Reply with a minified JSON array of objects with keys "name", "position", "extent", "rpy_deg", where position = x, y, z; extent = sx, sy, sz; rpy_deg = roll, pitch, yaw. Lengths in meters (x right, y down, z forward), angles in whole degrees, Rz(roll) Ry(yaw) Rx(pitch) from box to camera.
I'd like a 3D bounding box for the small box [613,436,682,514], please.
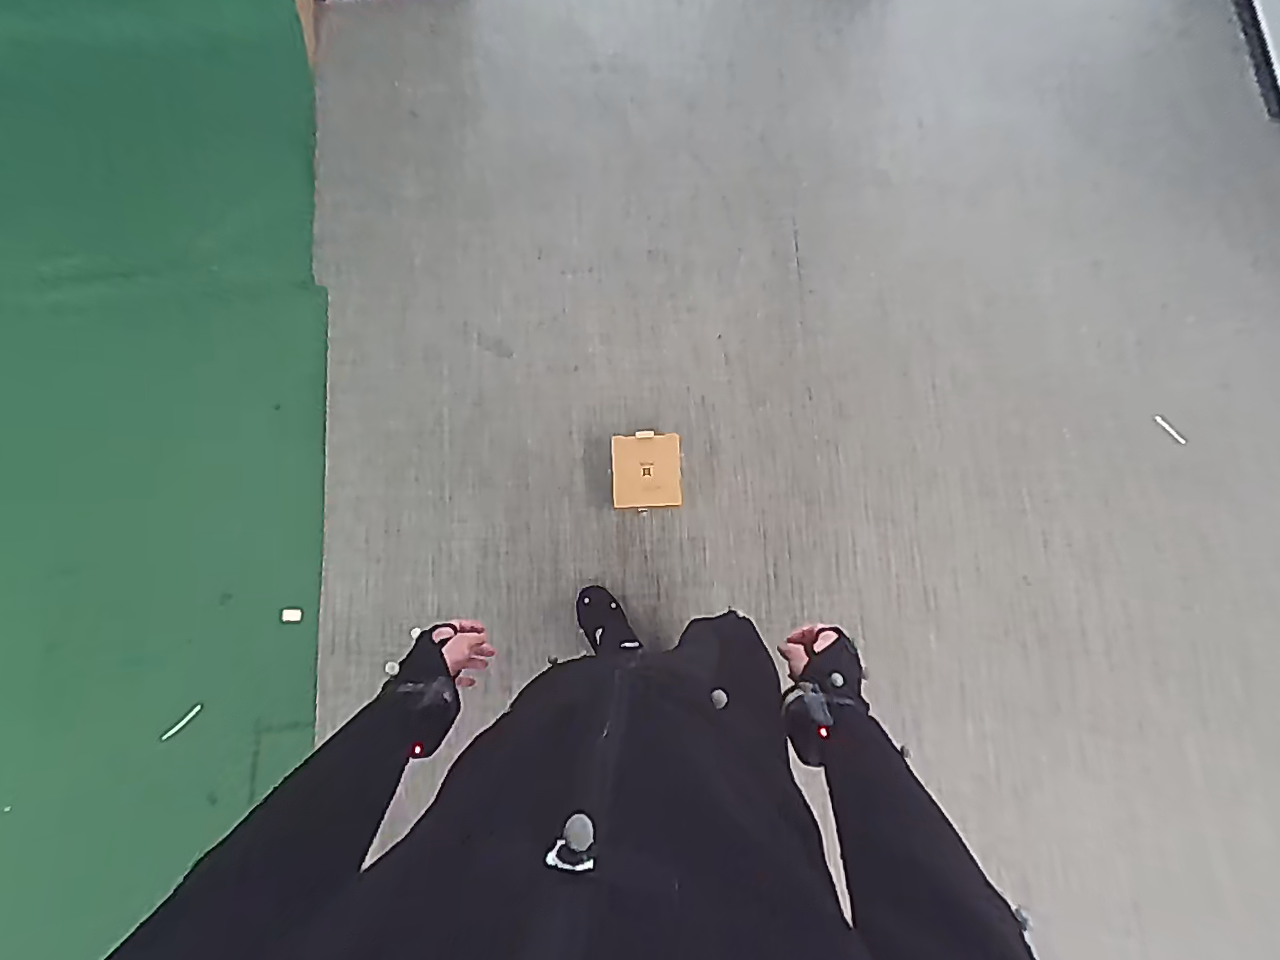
[{"name":"small box","position":[0.020,-0.008,1.357],"extent":[0.168,0.176,0.179],"rpy_deg":[-1,83,3]}]
